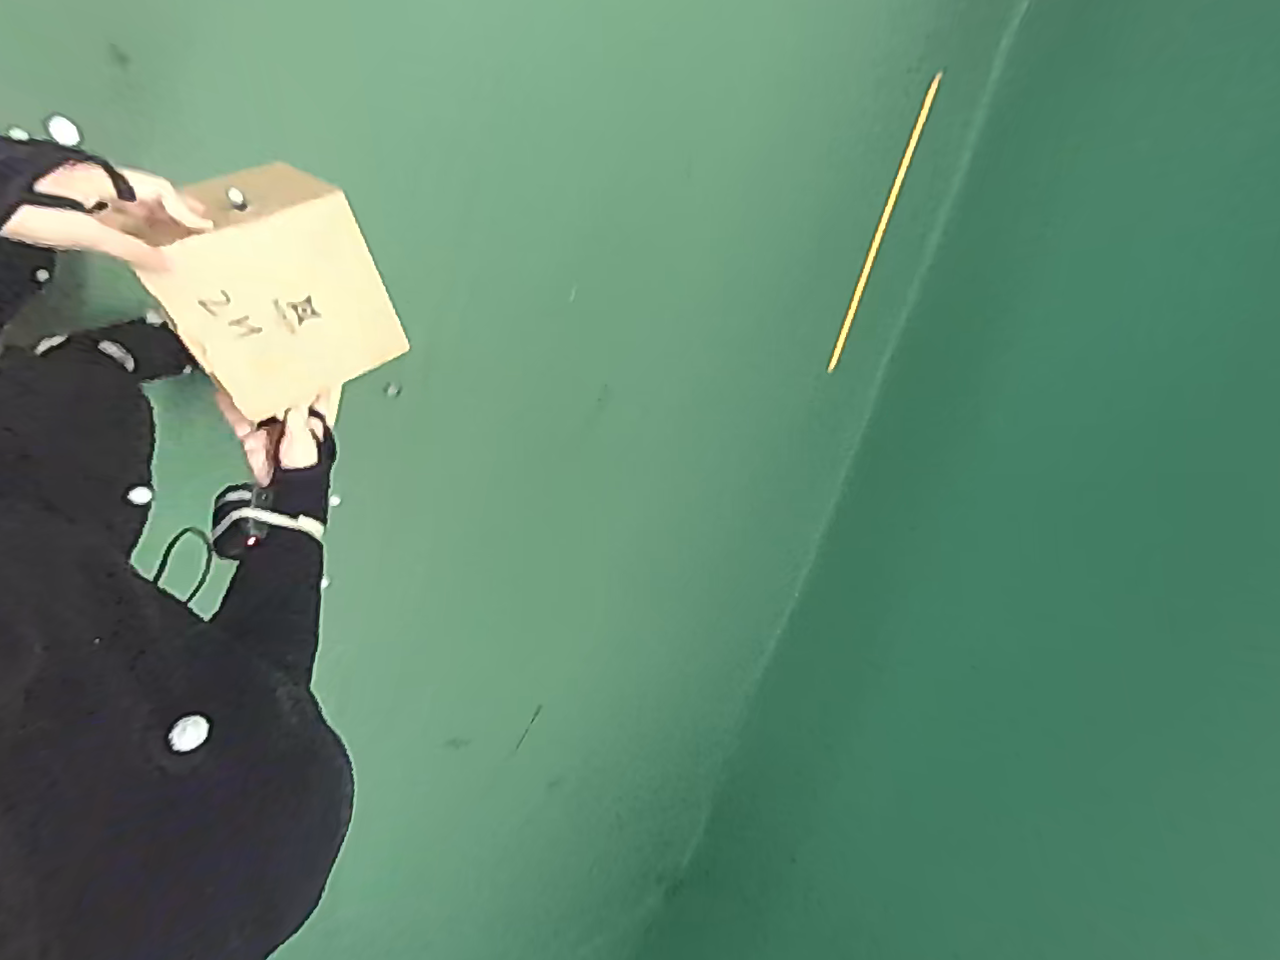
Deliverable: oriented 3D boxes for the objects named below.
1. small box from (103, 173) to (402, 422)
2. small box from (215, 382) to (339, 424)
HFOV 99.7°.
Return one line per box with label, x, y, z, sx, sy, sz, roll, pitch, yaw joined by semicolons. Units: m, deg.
small box;-0.387;-0.195;0.554;0.179;0.176;0.168;-35;142;-26
small box;-0.681;-0.220;1.020;0.179;0.176;0.168;8;105;-41
